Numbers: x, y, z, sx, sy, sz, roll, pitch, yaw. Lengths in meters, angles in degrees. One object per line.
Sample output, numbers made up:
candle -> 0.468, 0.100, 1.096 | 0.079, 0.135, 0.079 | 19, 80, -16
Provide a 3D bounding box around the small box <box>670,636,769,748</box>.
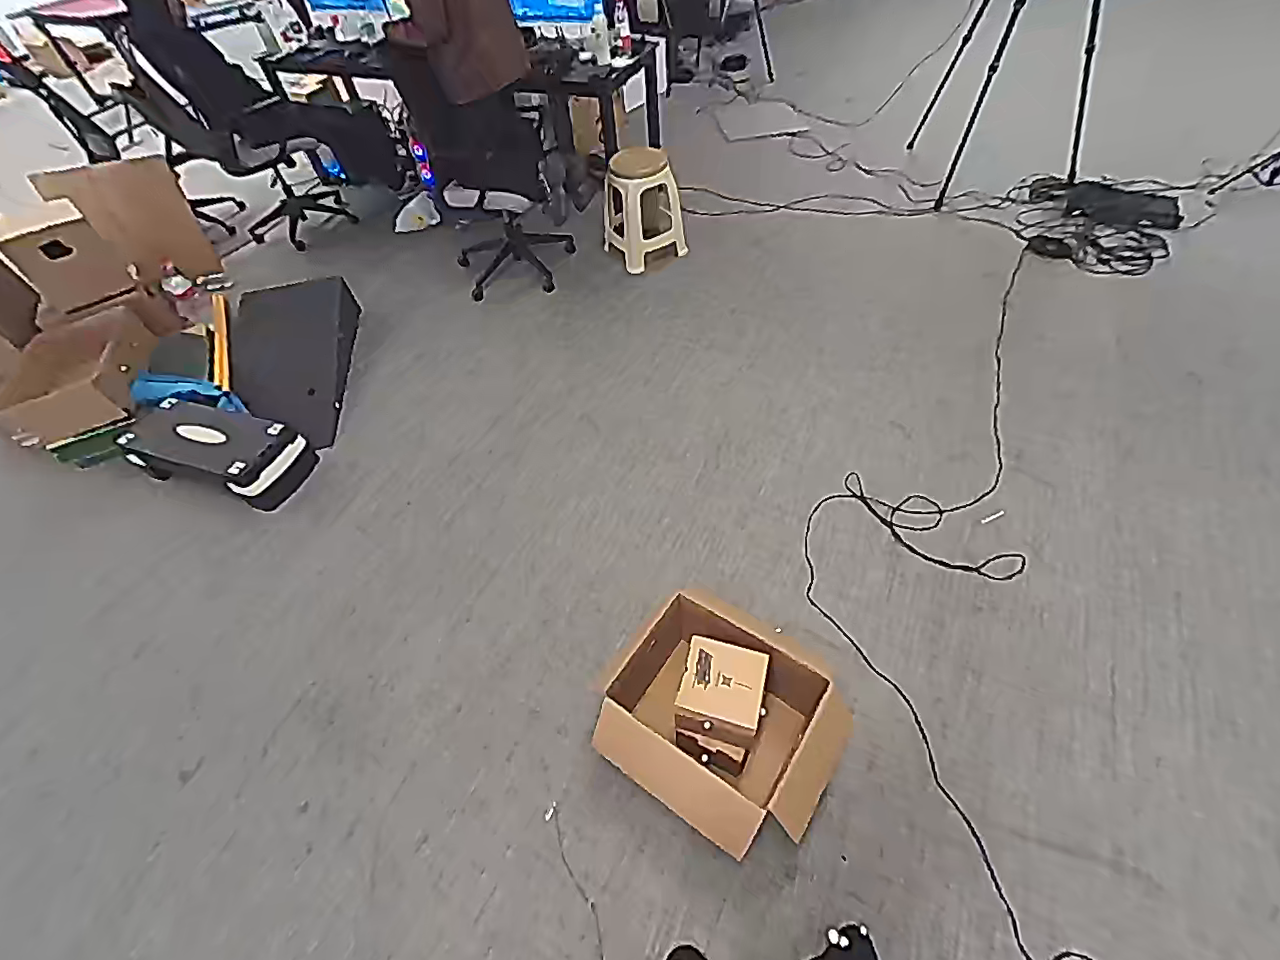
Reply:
small box -> 0.181, 0.482, 1.224 | 0.179, 0.176, 0.168 | 14, 55, 17
